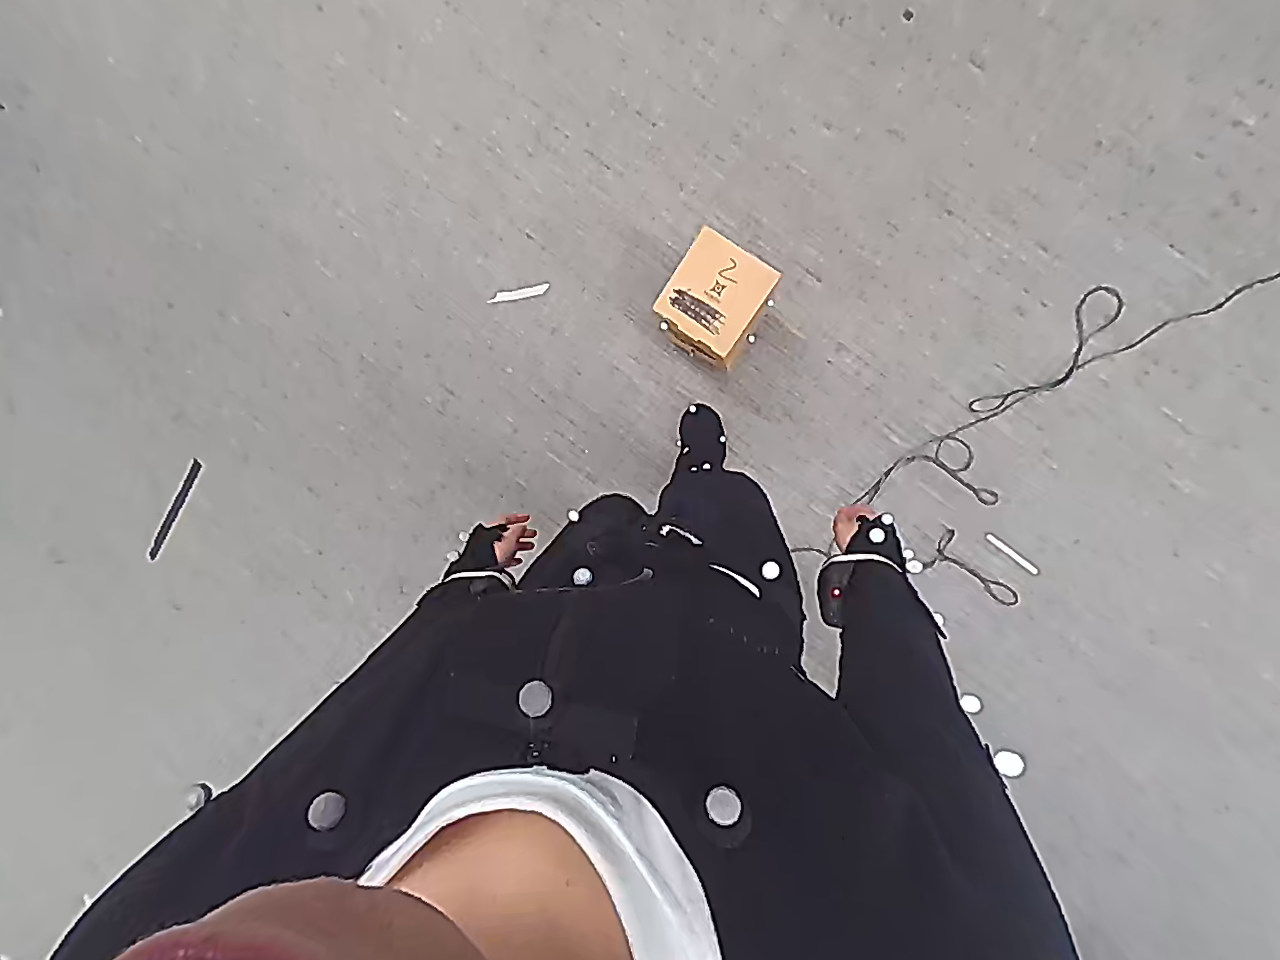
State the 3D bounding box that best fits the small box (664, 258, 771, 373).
[{"bbox_3d":[0.171,-0.357,1.207,0.168,0.176,0.179,31,101,5],"label":"small box"}]
